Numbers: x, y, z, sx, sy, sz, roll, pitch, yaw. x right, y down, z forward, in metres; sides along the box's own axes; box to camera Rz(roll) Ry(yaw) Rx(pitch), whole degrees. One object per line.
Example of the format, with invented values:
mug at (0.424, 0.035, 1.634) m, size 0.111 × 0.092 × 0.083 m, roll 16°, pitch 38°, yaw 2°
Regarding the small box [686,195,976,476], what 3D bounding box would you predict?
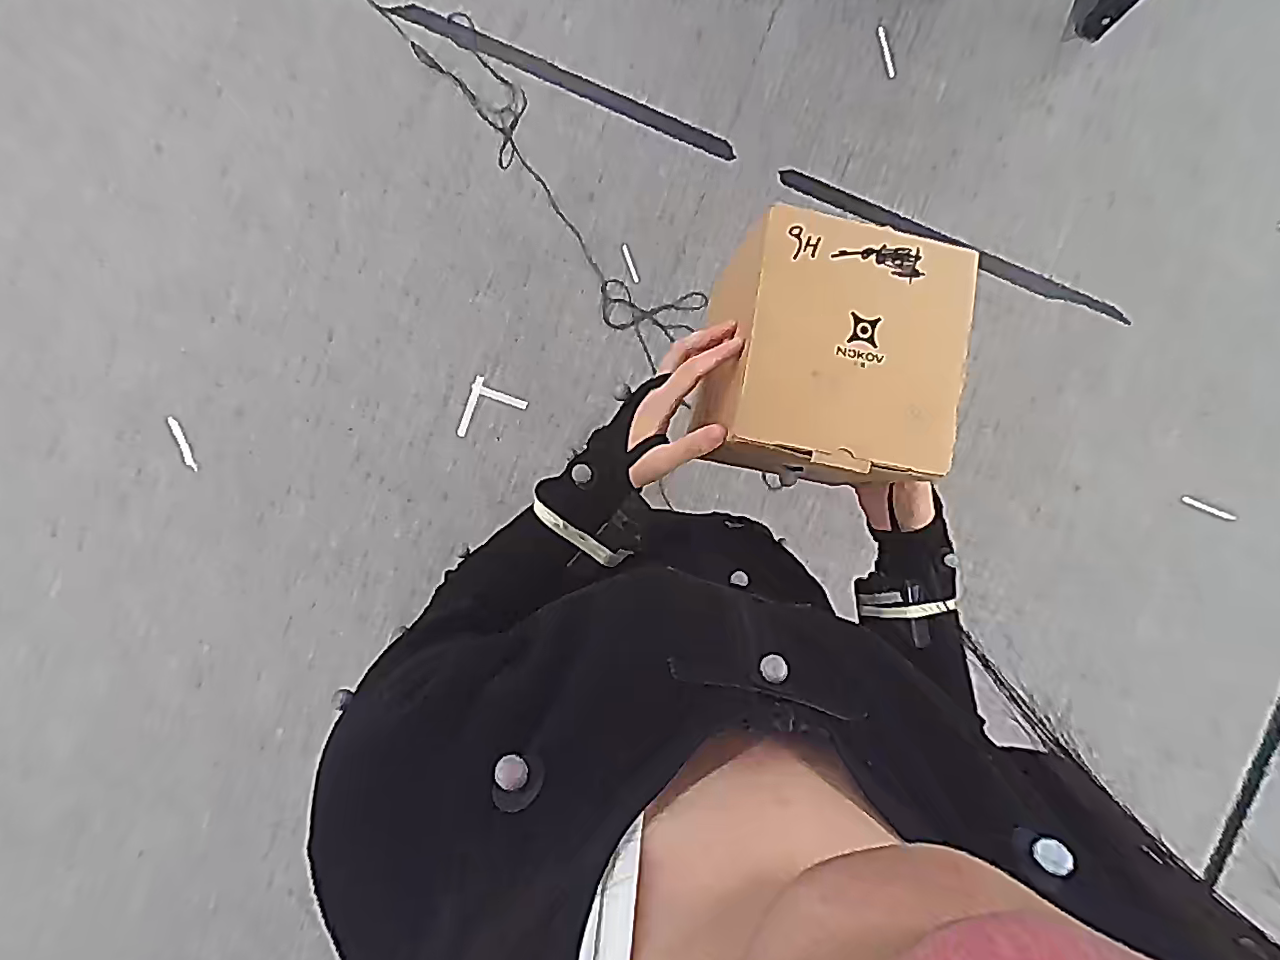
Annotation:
small box at (0.143, -0.101, 0.466) m, size 0.168 × 0.176 × 0.179 m, roll 10°, pitch 88°, yaw -7°
